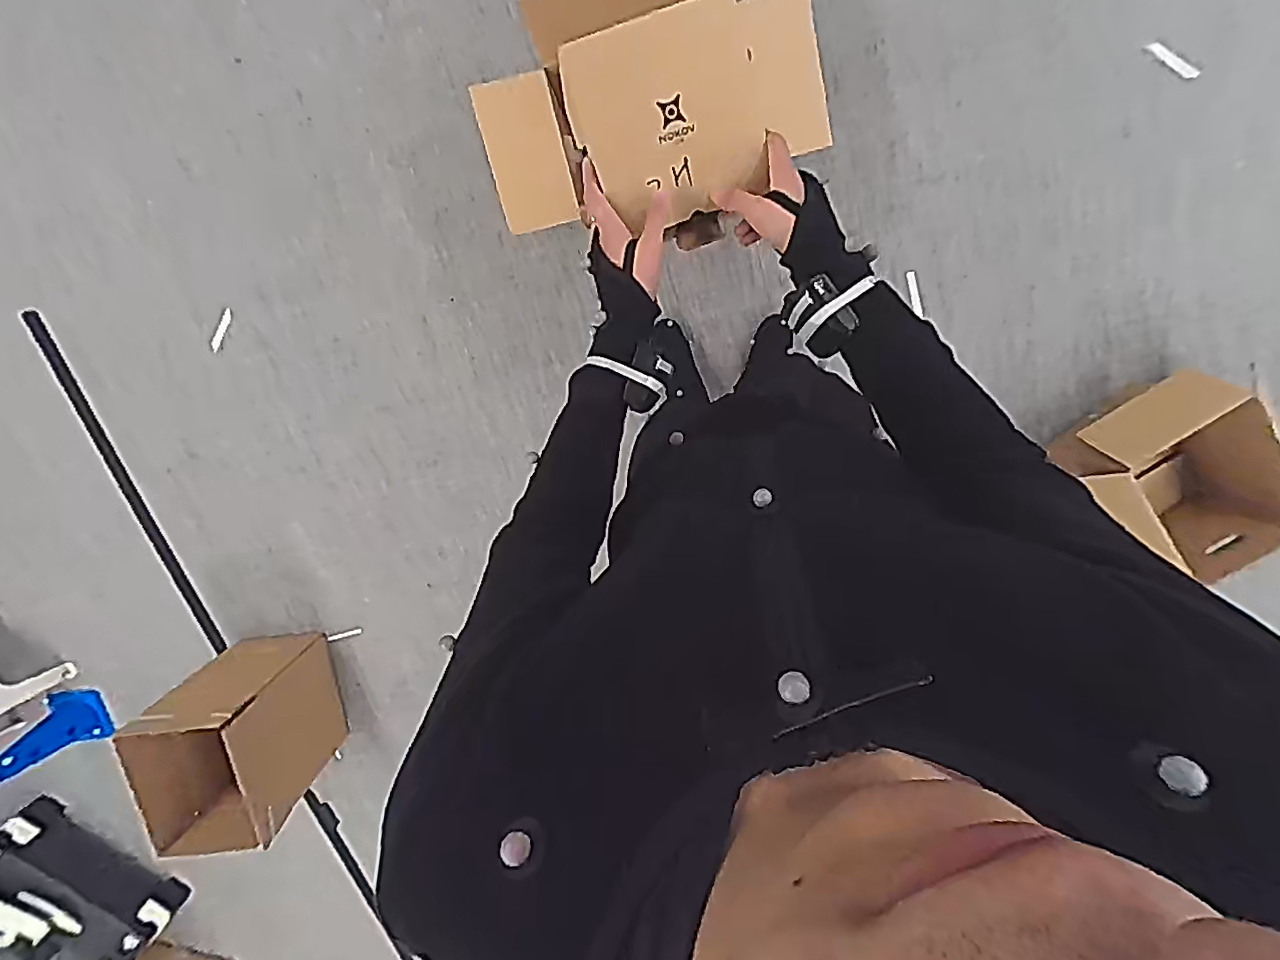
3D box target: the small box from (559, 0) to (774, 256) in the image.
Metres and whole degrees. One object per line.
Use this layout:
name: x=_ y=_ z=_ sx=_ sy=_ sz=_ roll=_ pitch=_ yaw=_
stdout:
small box: x=0.022 y=-0.358 z=0.578 sx=0.168 sy=0.176 sz=0.179 roll=-19 pitch=109 yaw=2
